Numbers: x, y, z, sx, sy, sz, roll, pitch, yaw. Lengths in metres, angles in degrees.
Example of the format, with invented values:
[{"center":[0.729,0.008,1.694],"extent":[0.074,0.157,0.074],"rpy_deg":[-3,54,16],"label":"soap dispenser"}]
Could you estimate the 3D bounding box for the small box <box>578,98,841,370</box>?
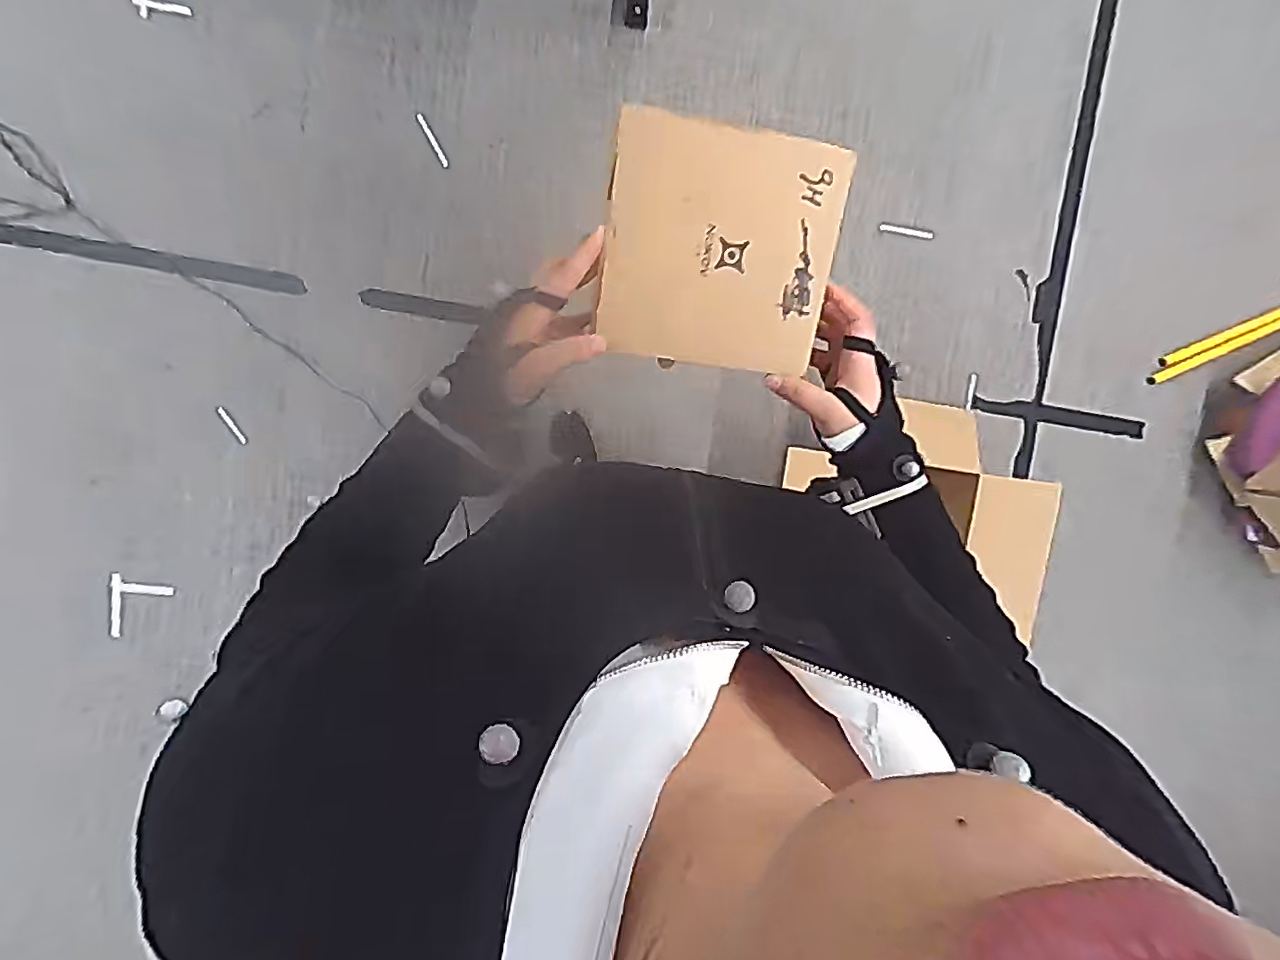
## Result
[{"center":[0.042,-0.199,0.478],"extent":[0.179,0.176,0.168],"rpy_deg":[6,107,-9],"label":"small box"}]
